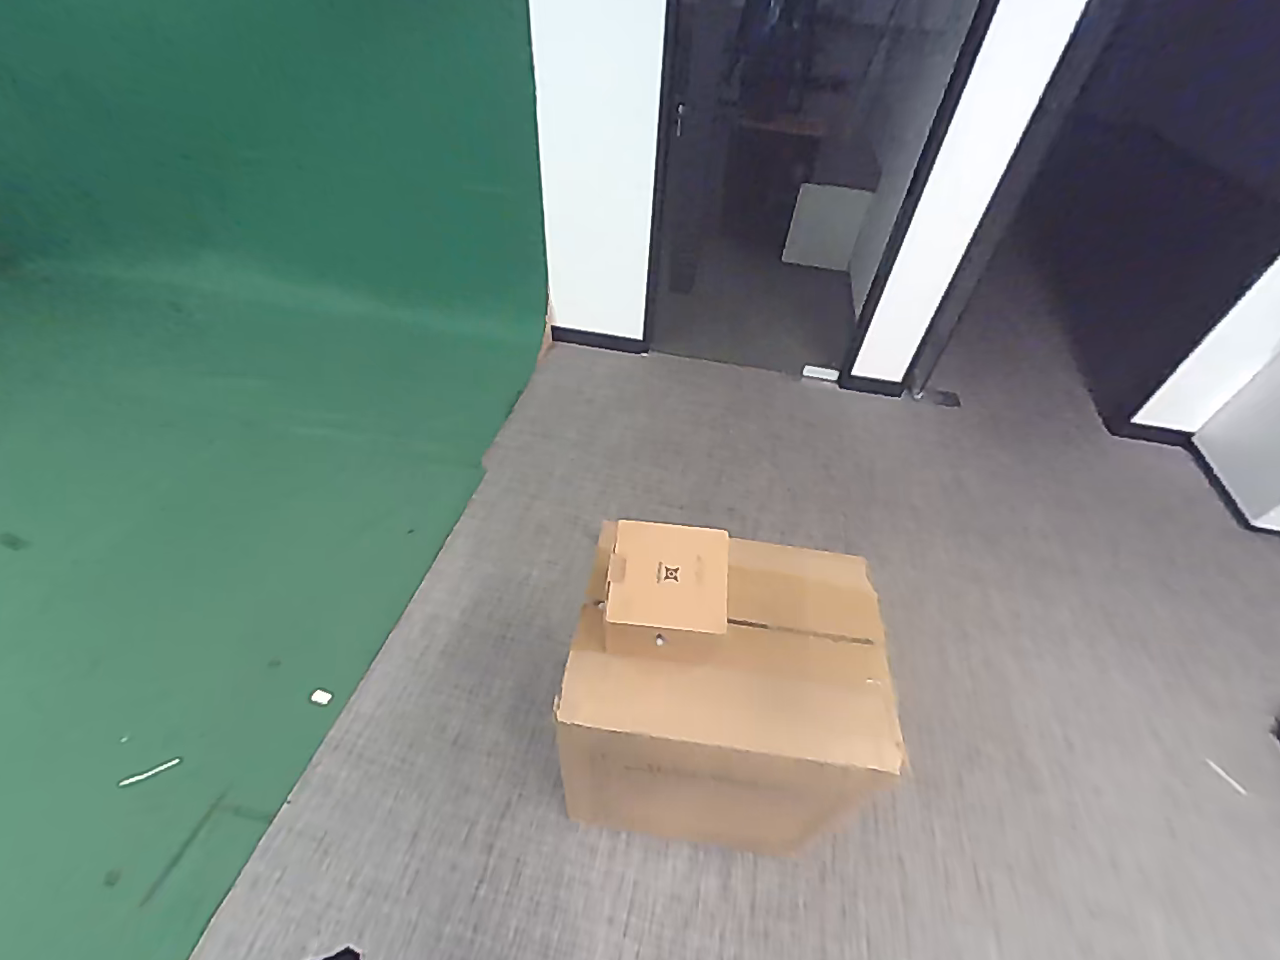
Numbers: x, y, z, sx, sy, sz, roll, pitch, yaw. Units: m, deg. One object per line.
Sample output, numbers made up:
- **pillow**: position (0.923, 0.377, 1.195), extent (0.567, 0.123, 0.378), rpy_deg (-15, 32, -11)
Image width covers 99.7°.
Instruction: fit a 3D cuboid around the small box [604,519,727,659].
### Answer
- **small box**: position (0.039, 0.180, 0.872), extent (0.179, 0.176, 0.168), rpy_deg (6, 58, 0)
